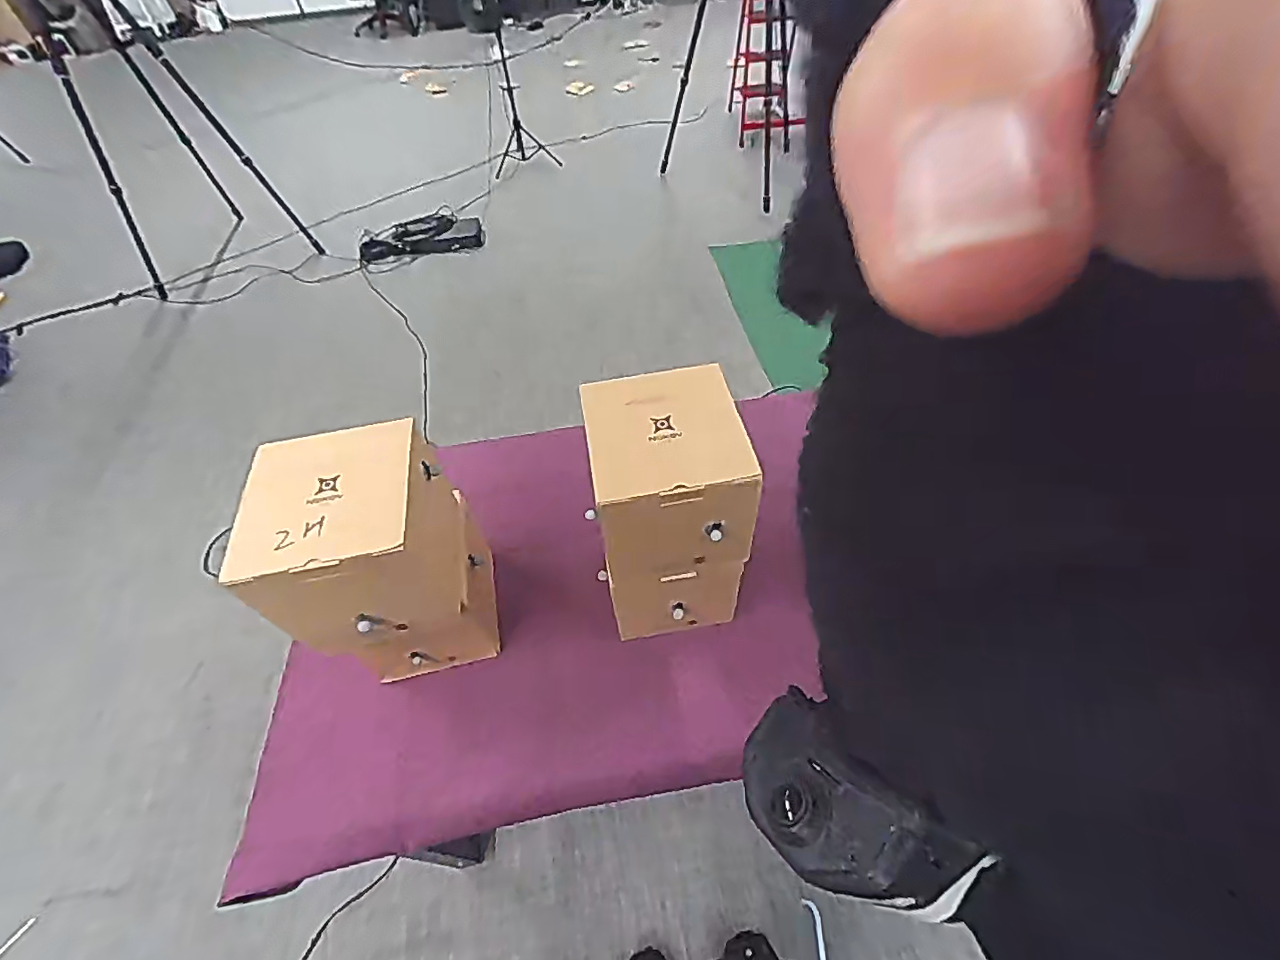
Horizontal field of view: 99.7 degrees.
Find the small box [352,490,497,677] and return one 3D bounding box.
[{"bbox_3d":[-0.301,0.143,0.742,0.168,0.176,0.179,-13,53,-7],"label":"small box"}]

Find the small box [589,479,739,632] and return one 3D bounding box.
[{"bbox_3d":[0.032,0.097,0.759,0.168,0.176,0.179,-12,51,-4],"label":"small box"}]

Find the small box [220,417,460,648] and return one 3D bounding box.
[{"bbox_3d":[-0.306,0.060,0.598,0.168,0.176,0.179,-11,53,-5],"label":"small box"}]

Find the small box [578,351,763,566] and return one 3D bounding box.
[{"bbox_3d":[0.030,-0.017,0.615,0.168,0.176,0.179,-10,51,-4],"label":"small box"}]
